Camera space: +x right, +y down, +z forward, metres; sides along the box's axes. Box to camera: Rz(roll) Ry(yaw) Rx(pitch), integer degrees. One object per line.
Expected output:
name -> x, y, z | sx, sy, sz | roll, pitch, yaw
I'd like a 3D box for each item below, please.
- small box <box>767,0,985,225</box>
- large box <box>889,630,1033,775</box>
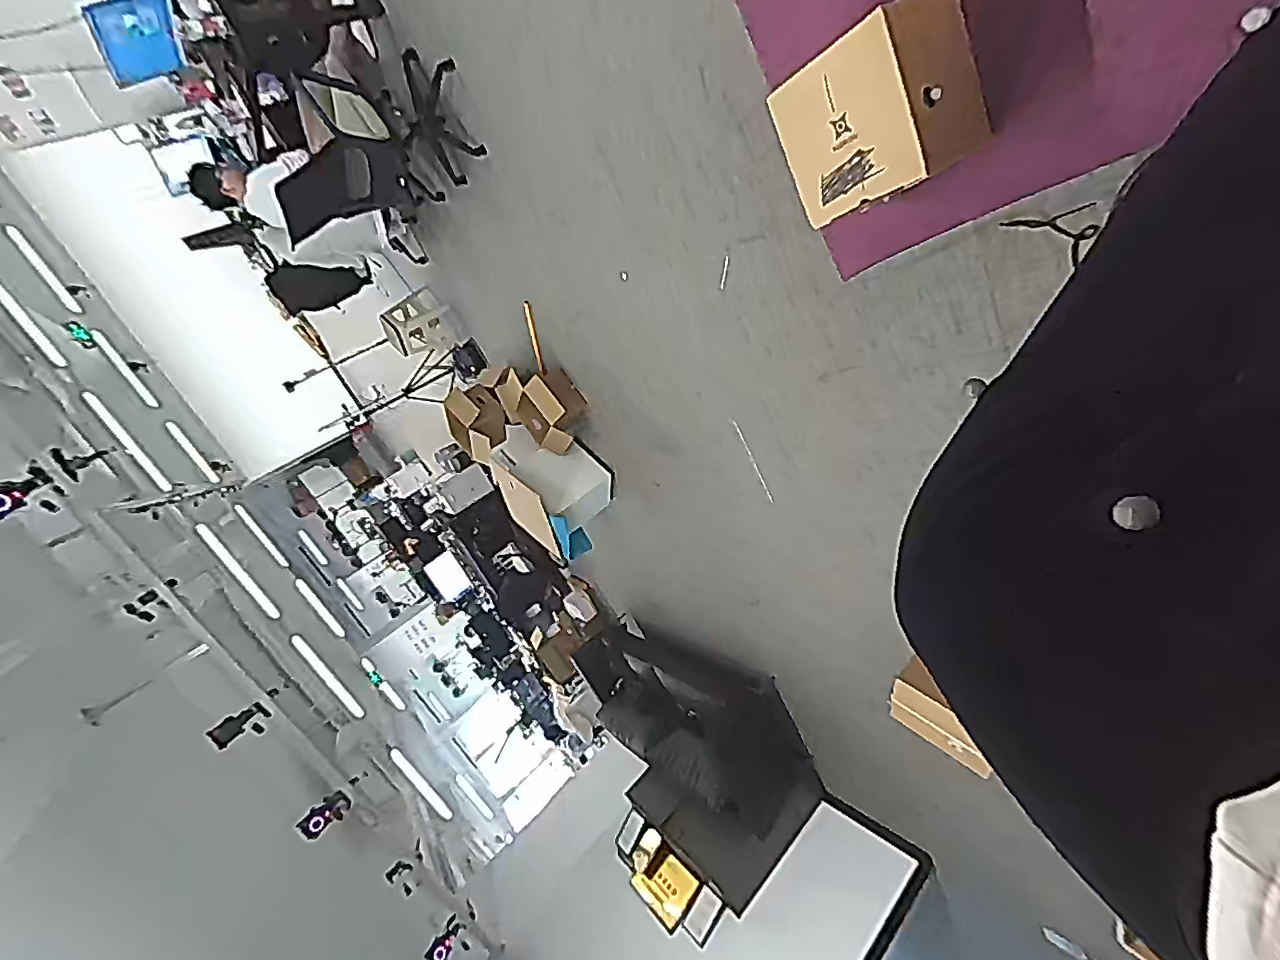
small box -> 0.299, -0.461, 0.680 | 0.168, 0.176, 0.179 | 1, 123, 57
large box -> 1.305, 0.900, 2.228 | 0.408, 0.320, 0.320 | 27, 144, 40
